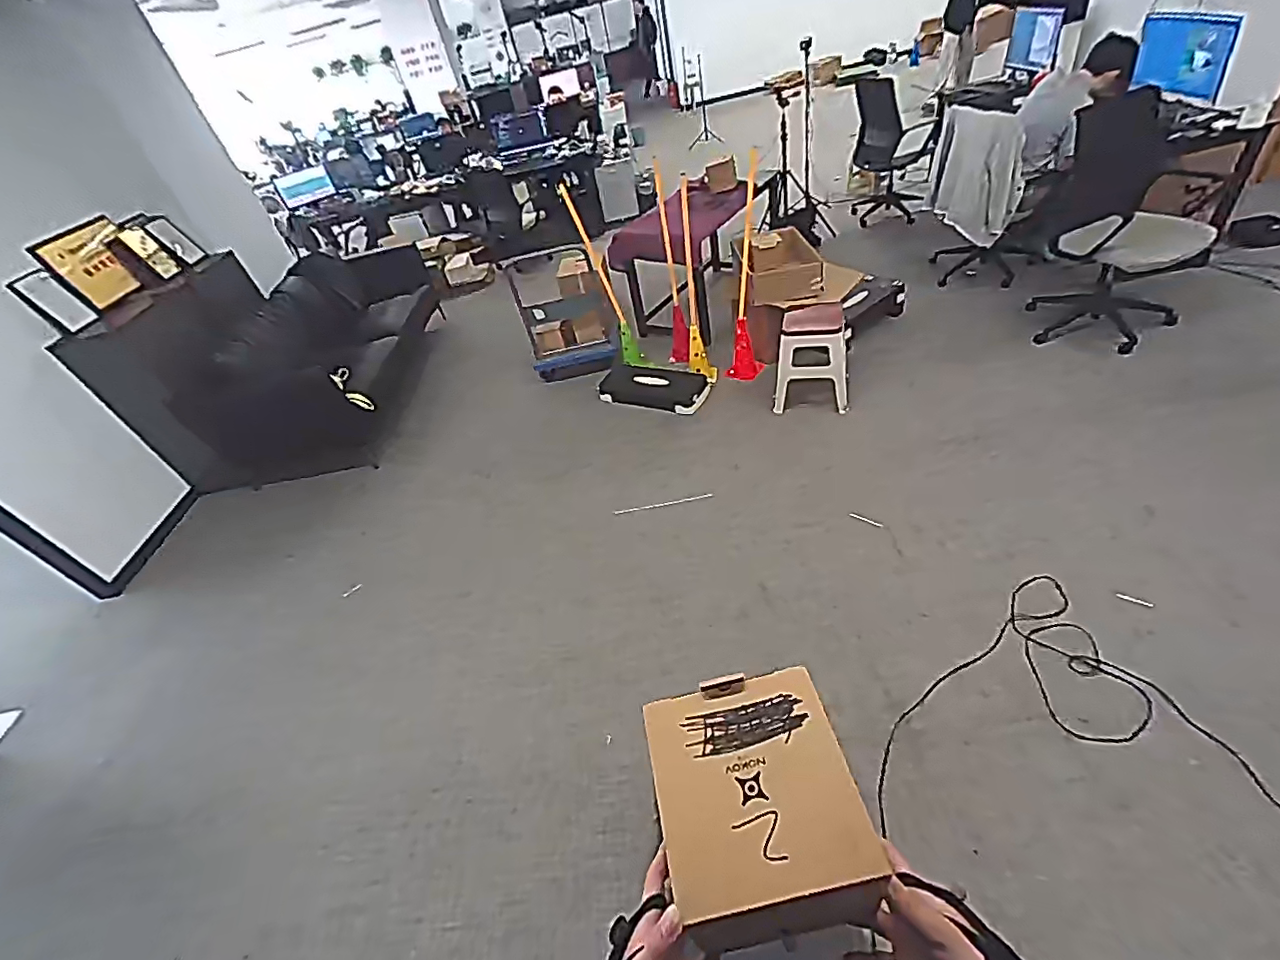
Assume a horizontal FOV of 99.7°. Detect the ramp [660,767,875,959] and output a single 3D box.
[{"bbox_3d":[0.302,1.173,1.236,0.509,0.206,0.991,-13,40,5],"label":"ramp"}]
